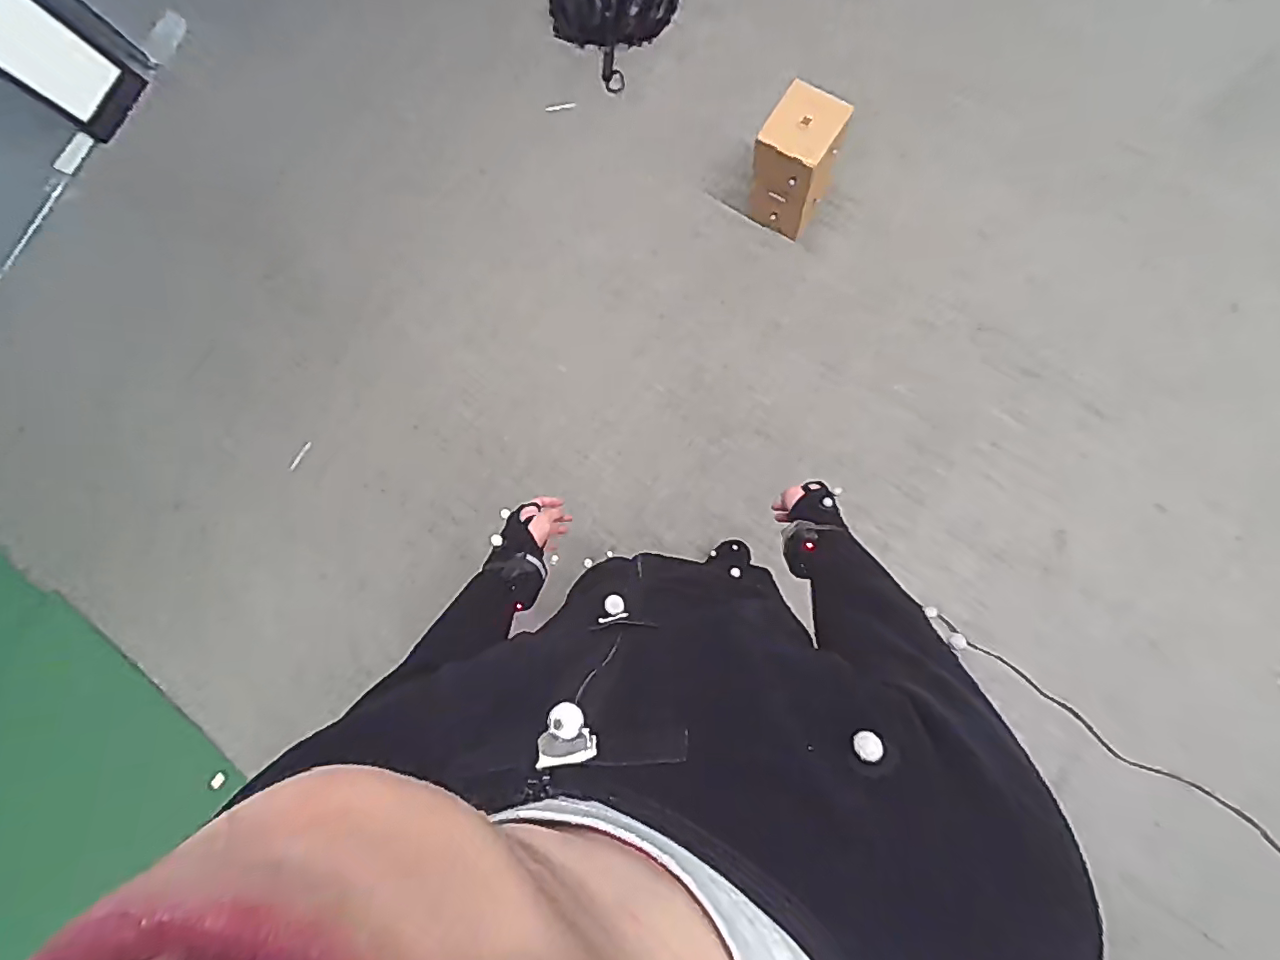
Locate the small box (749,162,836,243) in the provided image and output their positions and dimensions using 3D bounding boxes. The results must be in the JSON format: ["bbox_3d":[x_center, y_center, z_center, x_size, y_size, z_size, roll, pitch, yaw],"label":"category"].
[{"bbox_3d":[0.423,-0.810,1.525,0.168,0.176,0.179,33,90,11],"label":"small box"}]

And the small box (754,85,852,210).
[{"bbox_3d":[0.400,-0.828,1.364,0.168,0.176,0.179,34,88,10],"label":"small box"}]
